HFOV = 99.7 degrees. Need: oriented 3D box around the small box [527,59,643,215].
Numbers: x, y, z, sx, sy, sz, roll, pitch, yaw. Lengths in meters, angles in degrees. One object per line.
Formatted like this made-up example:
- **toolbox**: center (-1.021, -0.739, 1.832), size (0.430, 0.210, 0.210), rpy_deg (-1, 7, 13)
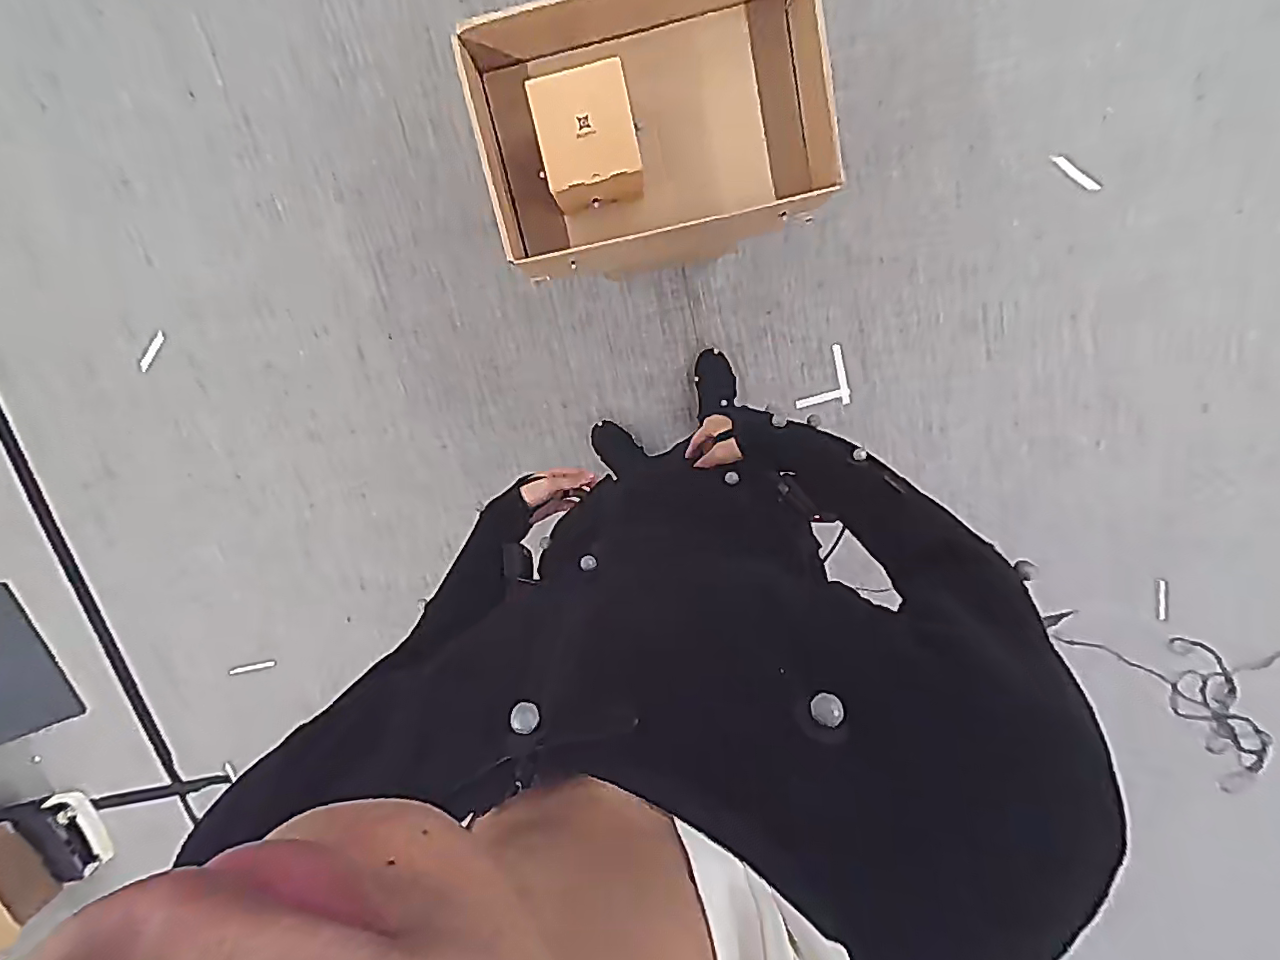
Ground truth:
- **small box**: center (-0.093, -0.614, 0.992), size (0.168, 0.176, 0.179), rpy_deg (-13, 103, 3)
